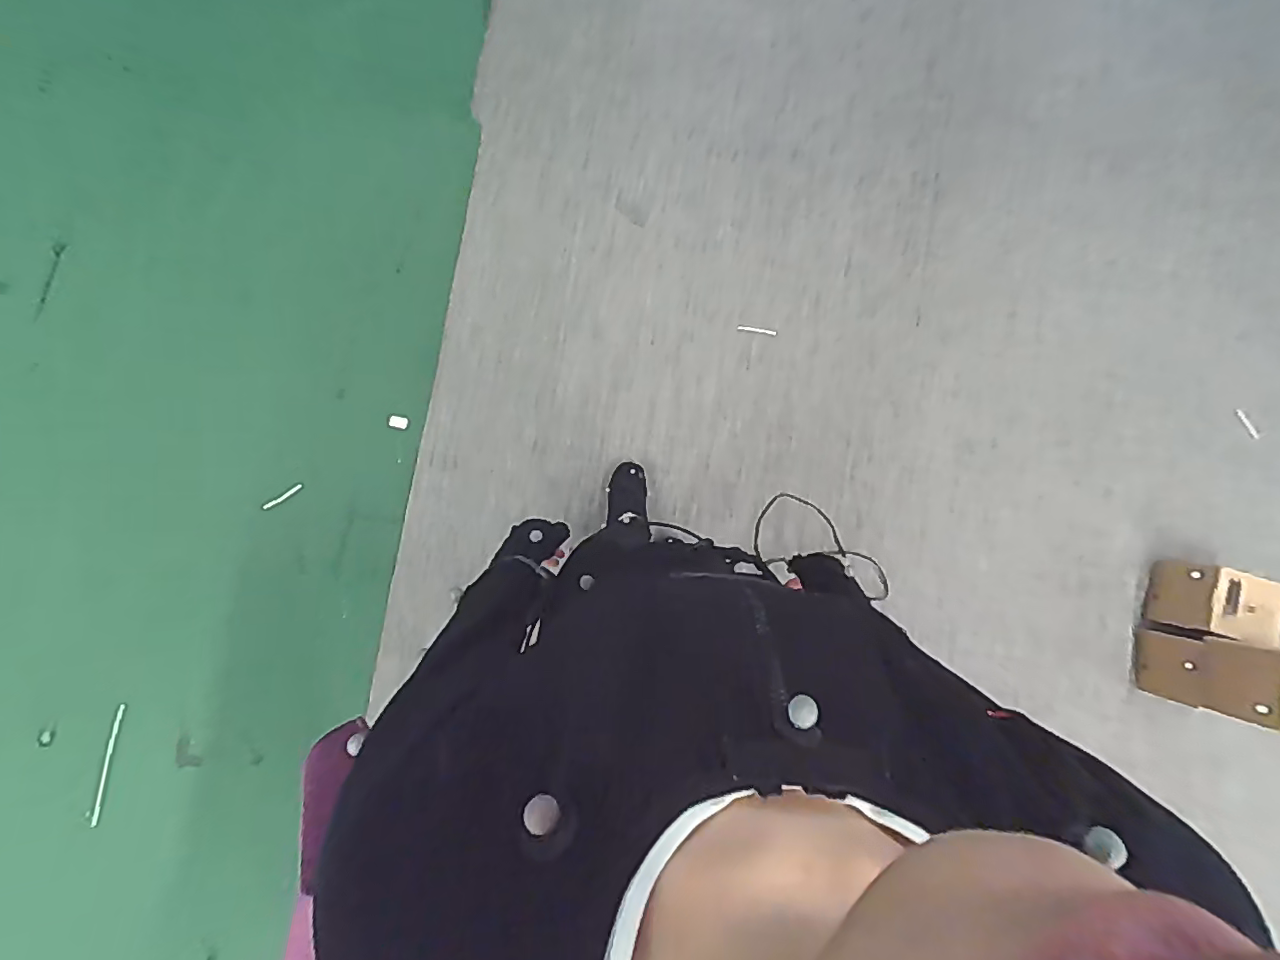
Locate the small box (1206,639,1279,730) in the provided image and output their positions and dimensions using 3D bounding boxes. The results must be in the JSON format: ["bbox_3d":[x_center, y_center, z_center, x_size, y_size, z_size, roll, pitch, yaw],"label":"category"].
[{"bbox_3d":[1.447,0.469,1.222,0.168,0.176,0.179,9,85,0],"label":"small box"}]
